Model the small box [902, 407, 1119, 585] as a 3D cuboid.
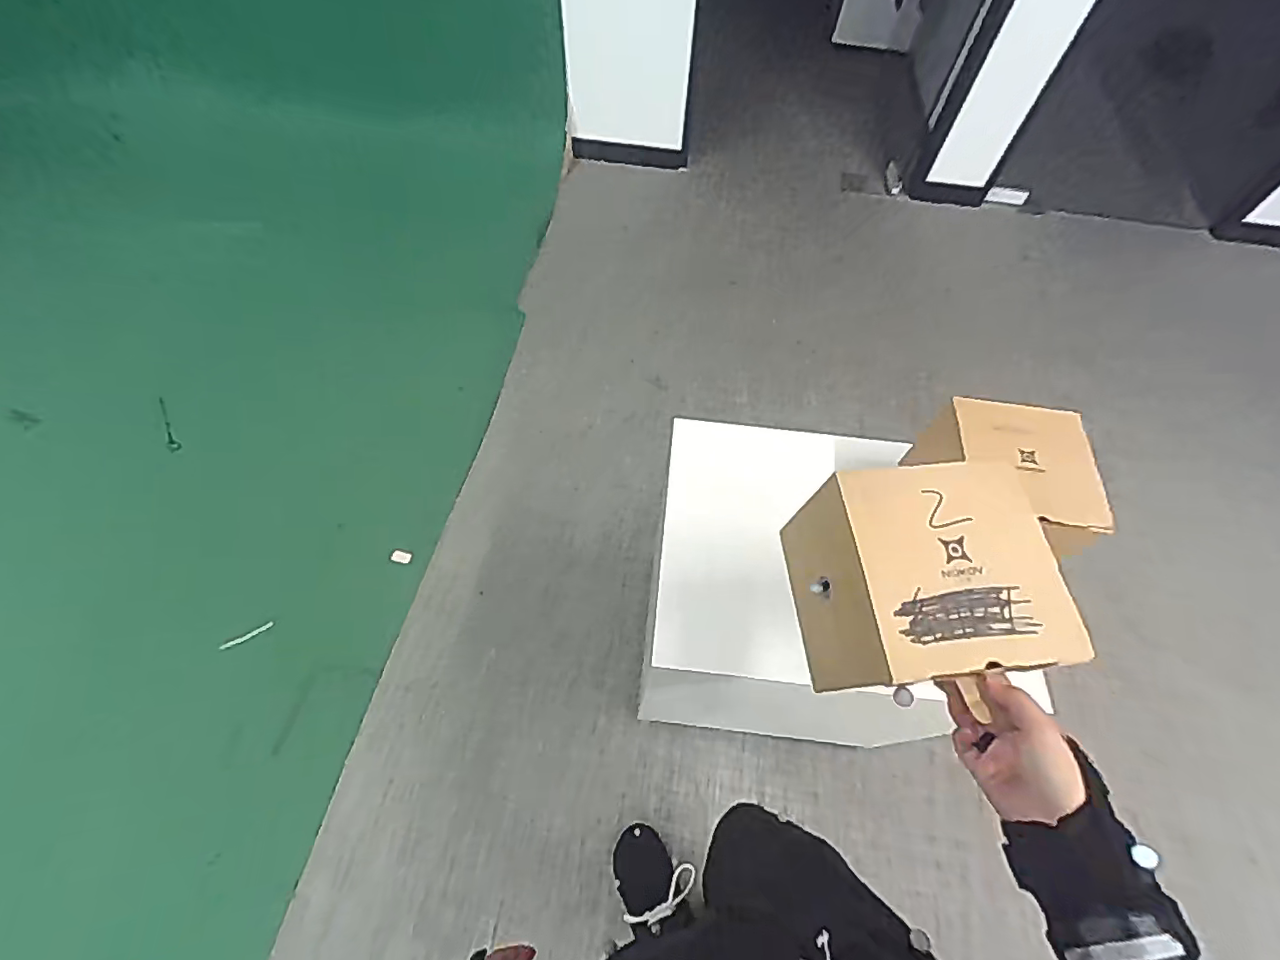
[{"bbox_3d":[0.480,0.029,0.734,0.168,0.176,0.179,8,59,2],"label":"small box"}]
